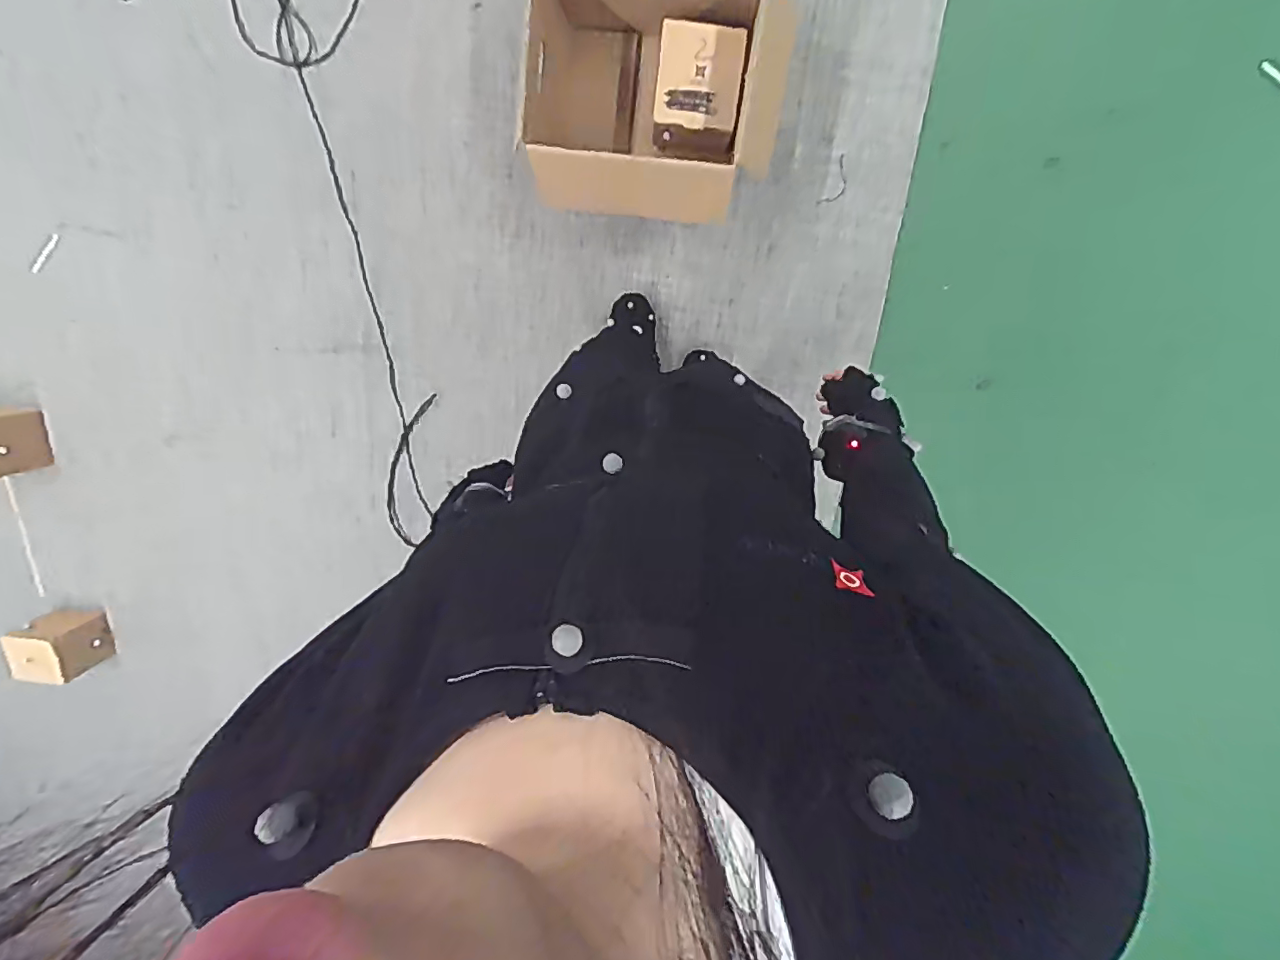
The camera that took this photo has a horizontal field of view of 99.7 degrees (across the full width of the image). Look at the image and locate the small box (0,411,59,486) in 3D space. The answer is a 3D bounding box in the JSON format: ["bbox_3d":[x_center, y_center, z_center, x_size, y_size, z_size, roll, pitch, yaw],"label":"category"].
[{"bbox_3d":[-1.852,-0.097,1.554,0.168,0.176,0.179,5,109,3],"label":"small box"}]

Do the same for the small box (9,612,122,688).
[{"bbox_3d":[-1.877,0.551,1.776,0.179,0.176,0.168,5,109,3],"label":"small box"}]
